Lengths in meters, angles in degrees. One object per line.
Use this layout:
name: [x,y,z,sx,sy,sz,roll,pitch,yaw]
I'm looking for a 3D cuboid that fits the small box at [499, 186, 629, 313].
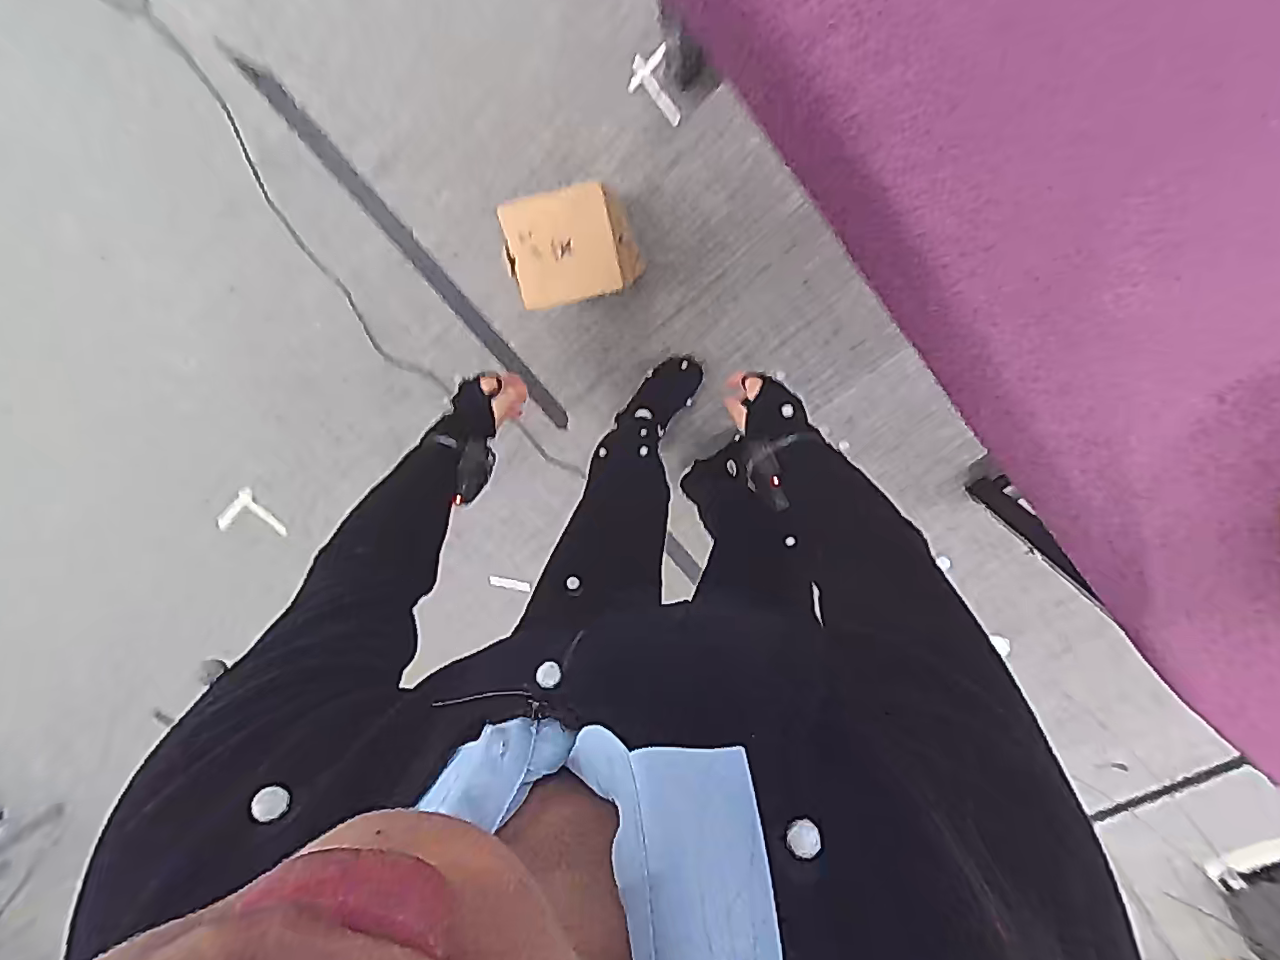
small box: [-0.120,-0.405,0.955,0.179,0.176,0.168,-10,112,10]
